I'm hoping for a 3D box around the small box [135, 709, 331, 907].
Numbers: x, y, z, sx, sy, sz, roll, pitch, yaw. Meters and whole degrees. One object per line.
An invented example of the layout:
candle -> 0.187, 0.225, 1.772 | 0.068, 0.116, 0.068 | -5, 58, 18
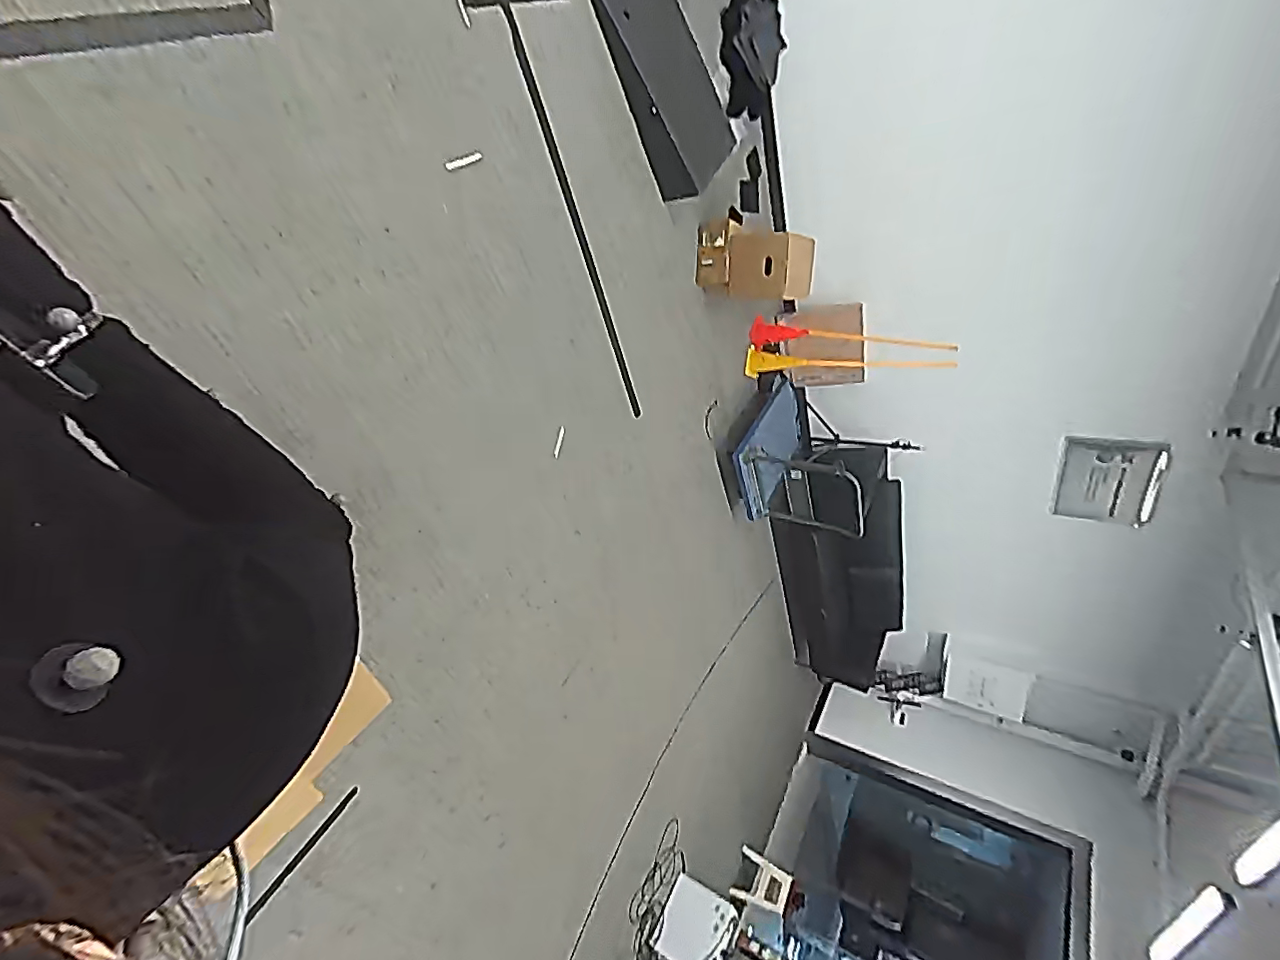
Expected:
small box -> -0.643, 0.504, 0.854 | 0.179, 0.176, 0.168 | -45, 130, -42
